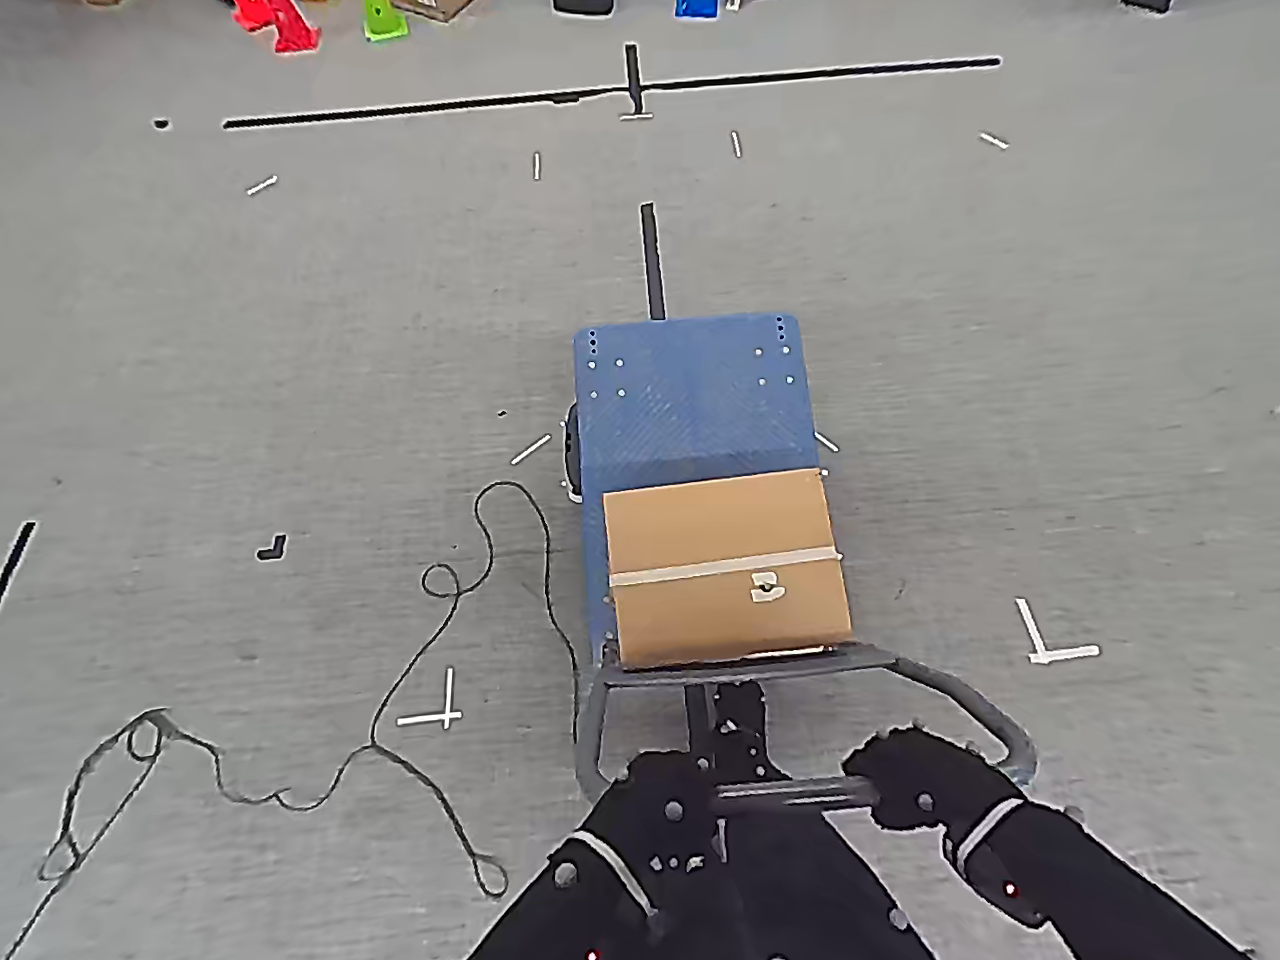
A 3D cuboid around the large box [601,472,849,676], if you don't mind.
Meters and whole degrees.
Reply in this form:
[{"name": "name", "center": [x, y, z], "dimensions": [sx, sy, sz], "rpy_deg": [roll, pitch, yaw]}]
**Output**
[{"name": "large box", "center": [0.143, 0.191, 1.099], "dimensions": [0.408, 0.320, 0.320], "rpy_deg": [-7, 79, -2]}]
